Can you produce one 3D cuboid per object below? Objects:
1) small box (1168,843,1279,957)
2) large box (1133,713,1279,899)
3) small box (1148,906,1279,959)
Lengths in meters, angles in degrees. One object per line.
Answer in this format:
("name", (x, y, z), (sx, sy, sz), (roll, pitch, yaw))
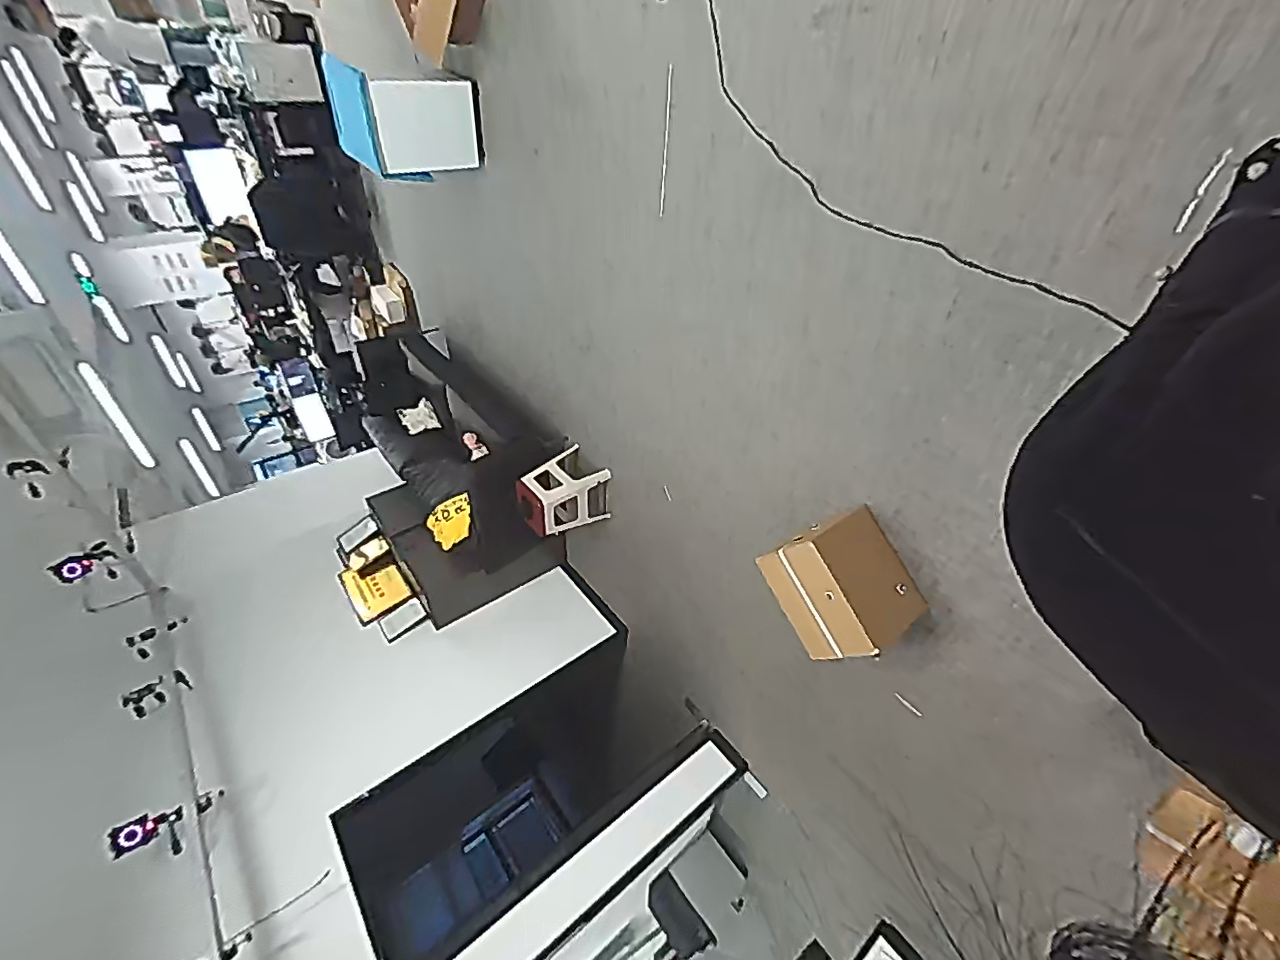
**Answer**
("small box", (1.158, 0.850, 1.033), (0.168, 0.176, 0.179), (29, 134, 46))
("large box", (1.376, 0.790, 1.134), (0.408, 0.320, 0.320), (27, 133, 45))
("small box", (1.027, 0.909, 0.954), (0.179, 0.176, 0.168), (27, 132, 46))
